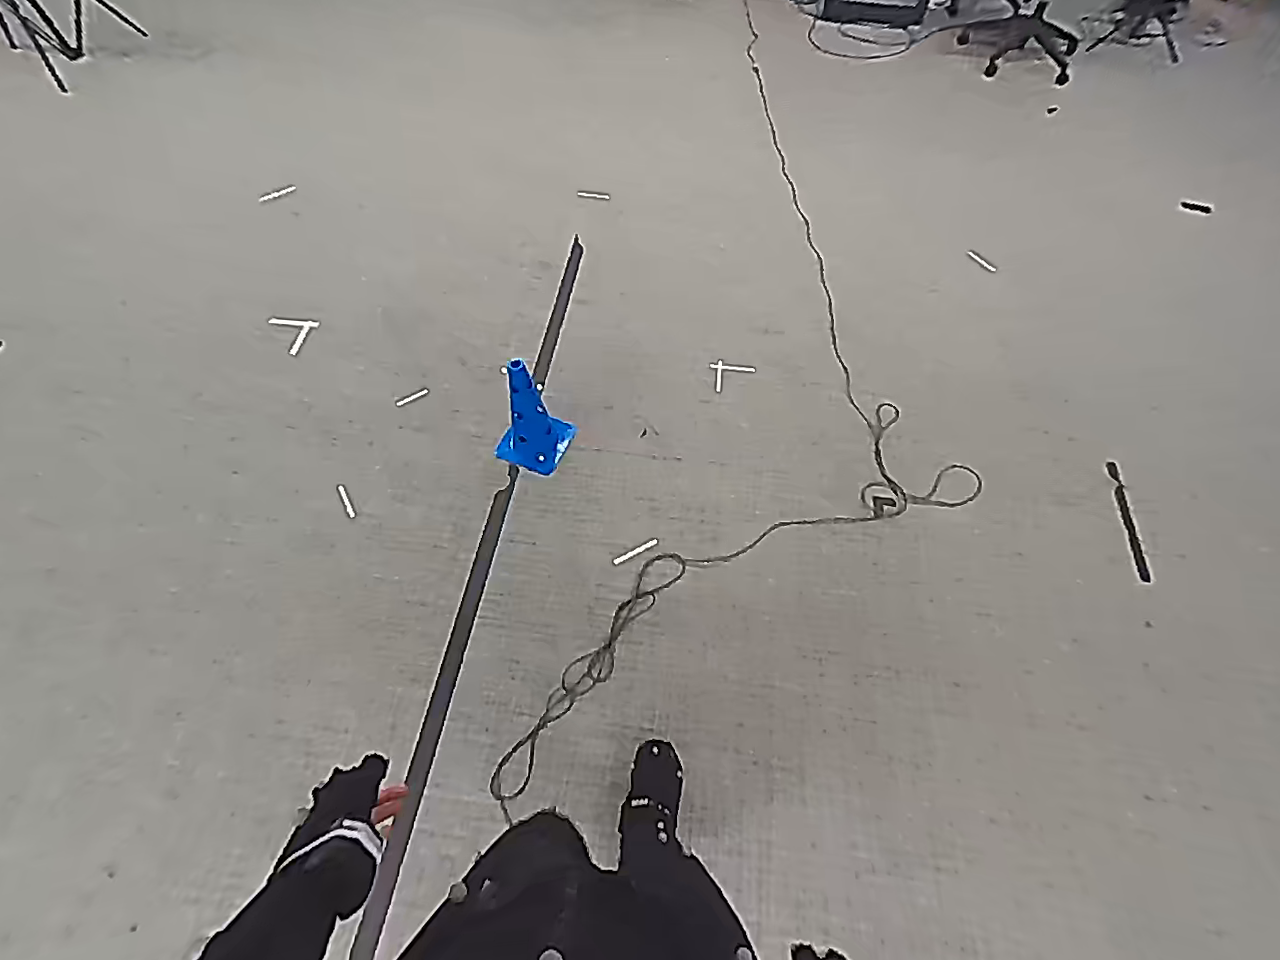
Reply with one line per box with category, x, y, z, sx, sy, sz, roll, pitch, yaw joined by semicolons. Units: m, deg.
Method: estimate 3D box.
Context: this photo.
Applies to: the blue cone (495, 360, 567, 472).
blue cone;-0.337;-0.201;1.555;0.192;0.380;0.193;22;62;12
